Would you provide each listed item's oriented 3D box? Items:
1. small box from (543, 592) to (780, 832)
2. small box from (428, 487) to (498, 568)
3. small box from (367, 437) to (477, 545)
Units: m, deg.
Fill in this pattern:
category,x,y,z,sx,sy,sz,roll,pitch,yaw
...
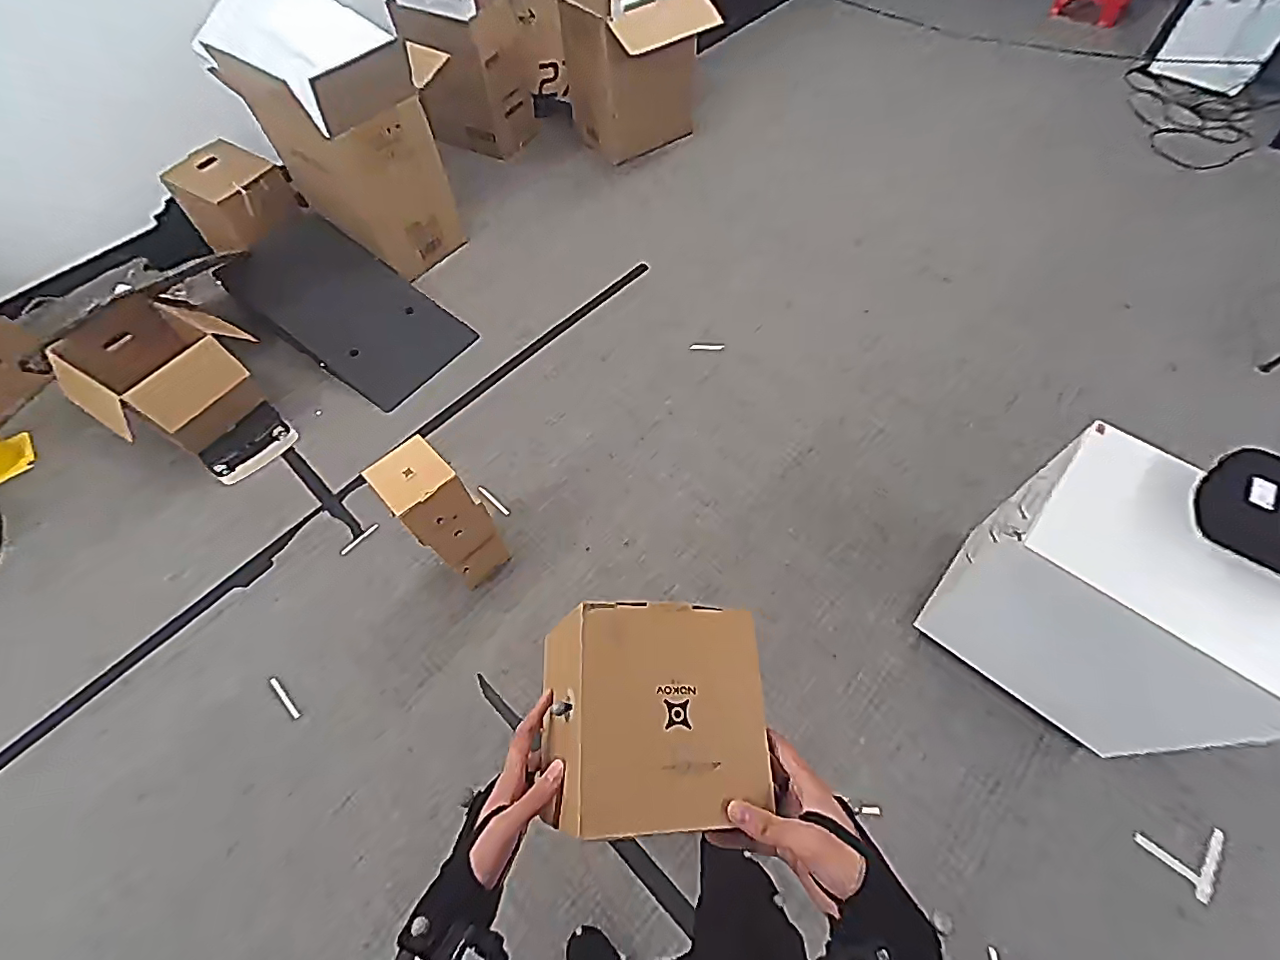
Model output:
category,x,y,z,sx,sy,sz,roll,pitch,yaw
small box,0.006,0.217,0.509,0.168,0.176,0.179,7,62,-18
small box,-0.525,0.115,1.506,0.168,0.176,0.179,38,66,23
small box,-0.544,0.032,1.367,0.168,0.176,0.179,-41,66,-21
